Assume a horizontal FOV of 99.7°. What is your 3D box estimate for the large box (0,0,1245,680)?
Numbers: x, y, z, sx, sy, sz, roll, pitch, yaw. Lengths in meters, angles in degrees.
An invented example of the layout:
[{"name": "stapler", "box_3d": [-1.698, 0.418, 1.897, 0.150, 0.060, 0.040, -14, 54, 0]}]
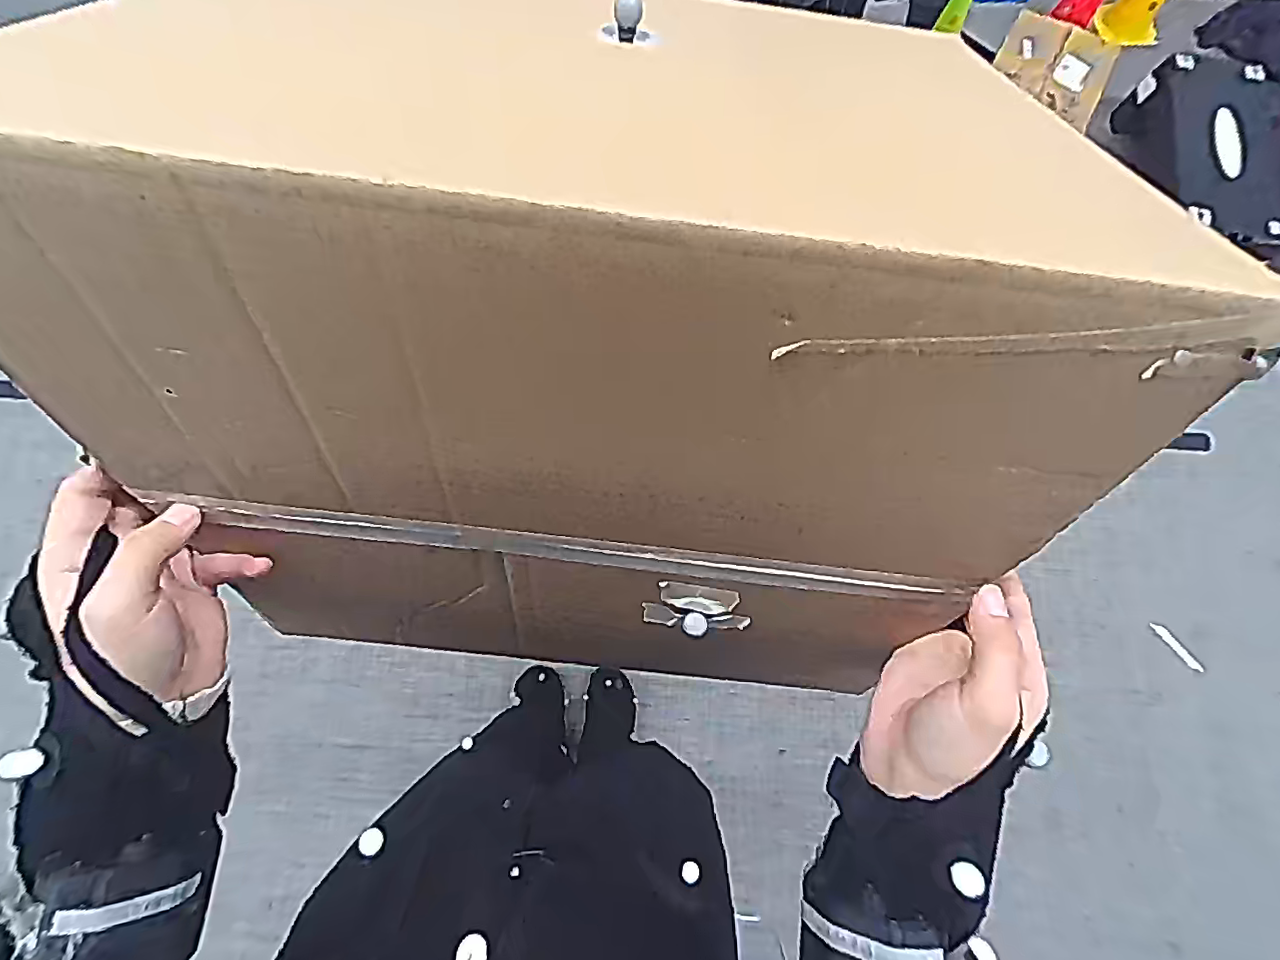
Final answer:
[{"name": "large box", "box_3d": [-0.024, -0.087, 0.362, 0.408, 0.320, 0.320, 6, 51, -2]}]
